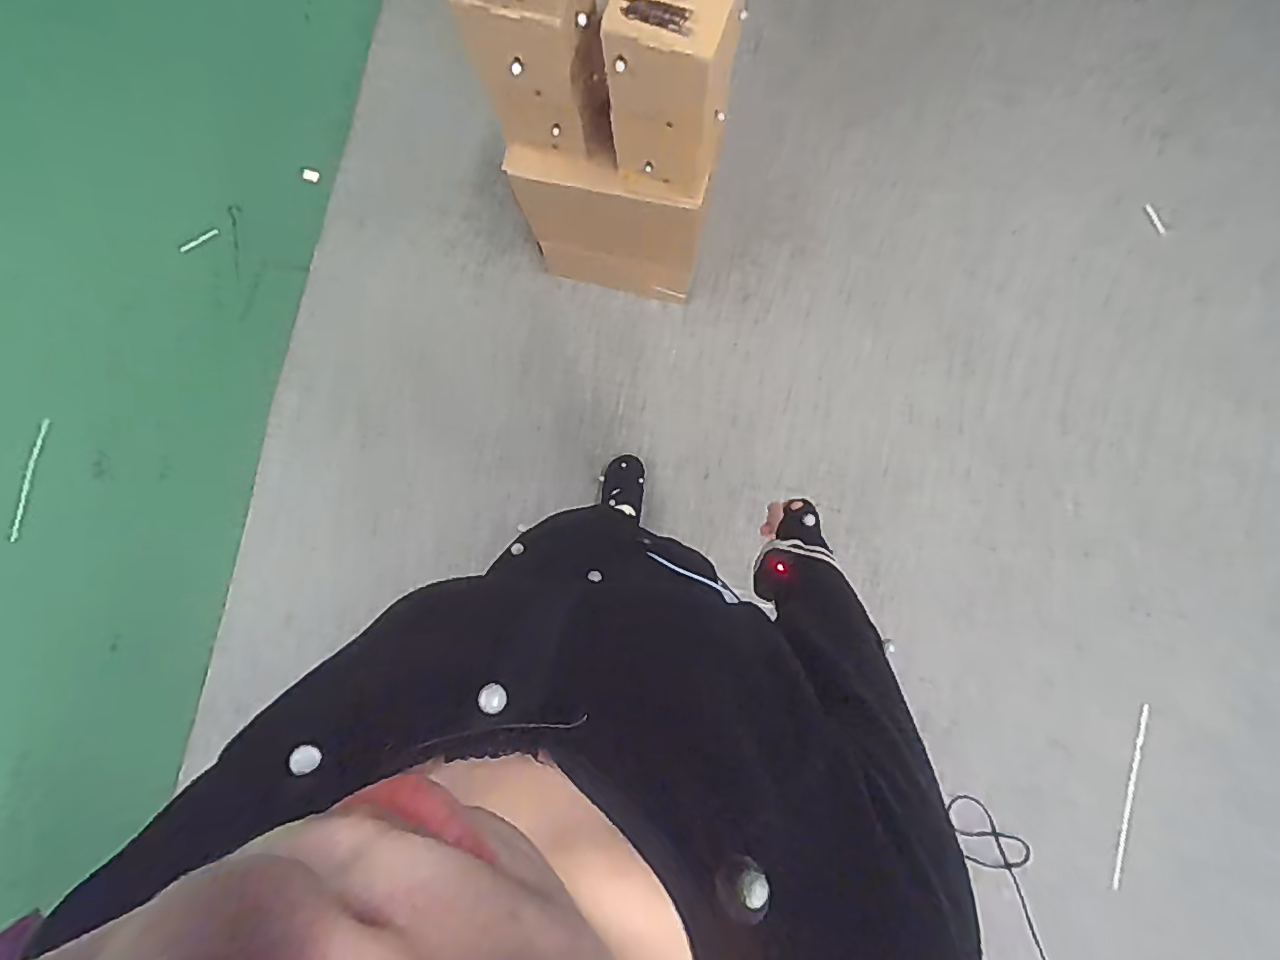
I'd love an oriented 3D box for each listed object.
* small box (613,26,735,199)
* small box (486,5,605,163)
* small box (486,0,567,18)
[{"bbox_3d":[0.059,-0.663,0.995,0.168,0.176,0.179,20,88,4],"label":"small box"},{"bbox_3d":[-0.164,-0.733,1.006,0.168,0.176,0.179,14,88,0],"label":"small box"},{"bbox_3d":[-0.167,-0.740,0.678,0.168,0.176,0.179,13,87,0],"label":"small box"}]
